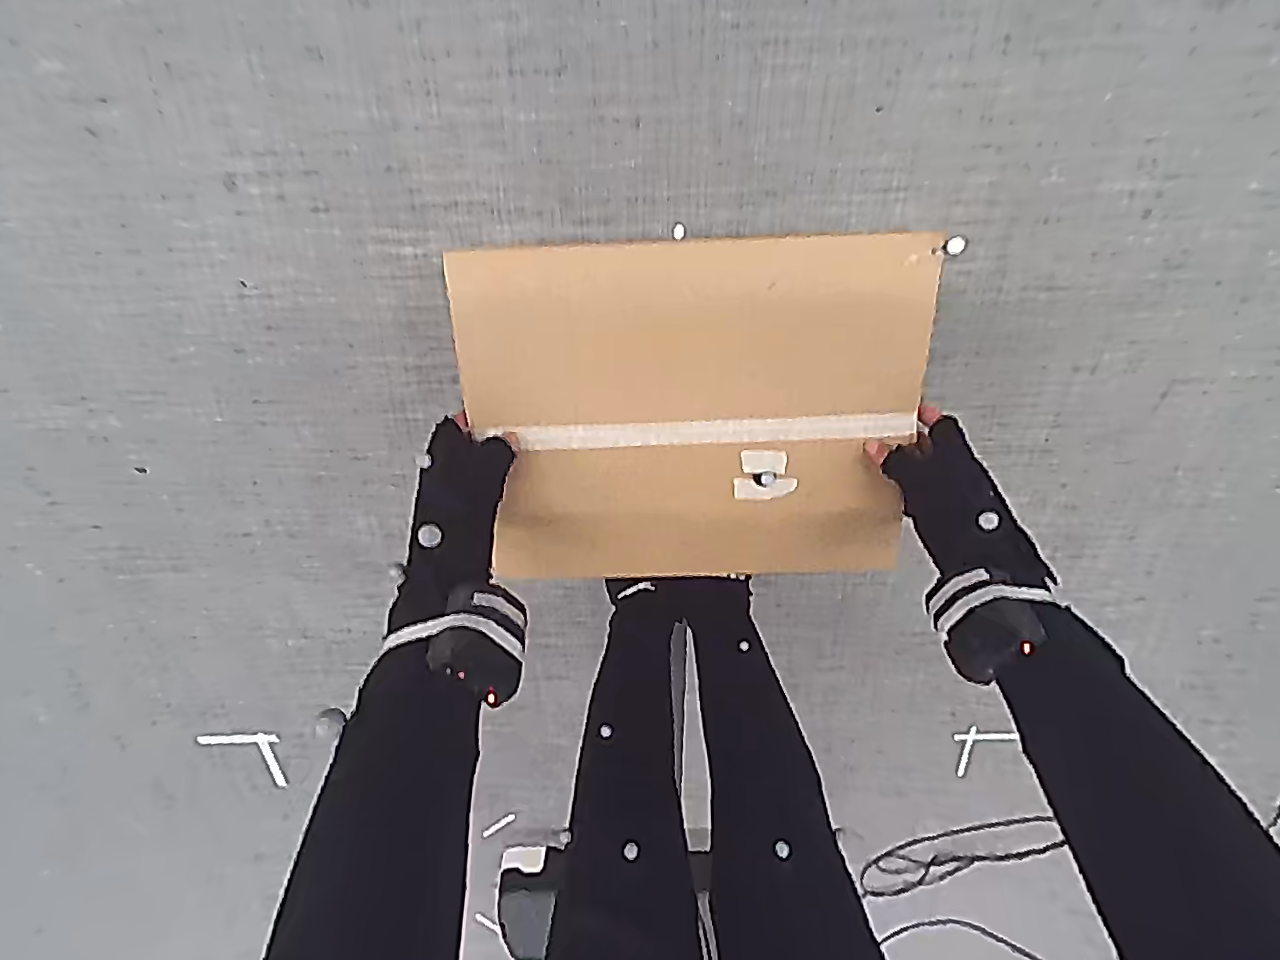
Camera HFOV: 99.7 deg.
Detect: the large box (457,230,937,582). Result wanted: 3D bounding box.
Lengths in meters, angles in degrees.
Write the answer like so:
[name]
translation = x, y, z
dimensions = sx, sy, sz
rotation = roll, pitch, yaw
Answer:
[large box]
translation = 0.052, -0.102, 0.634
dimensions = 0.408, 0.320, 0.320
rotation = -3, 112, 1
